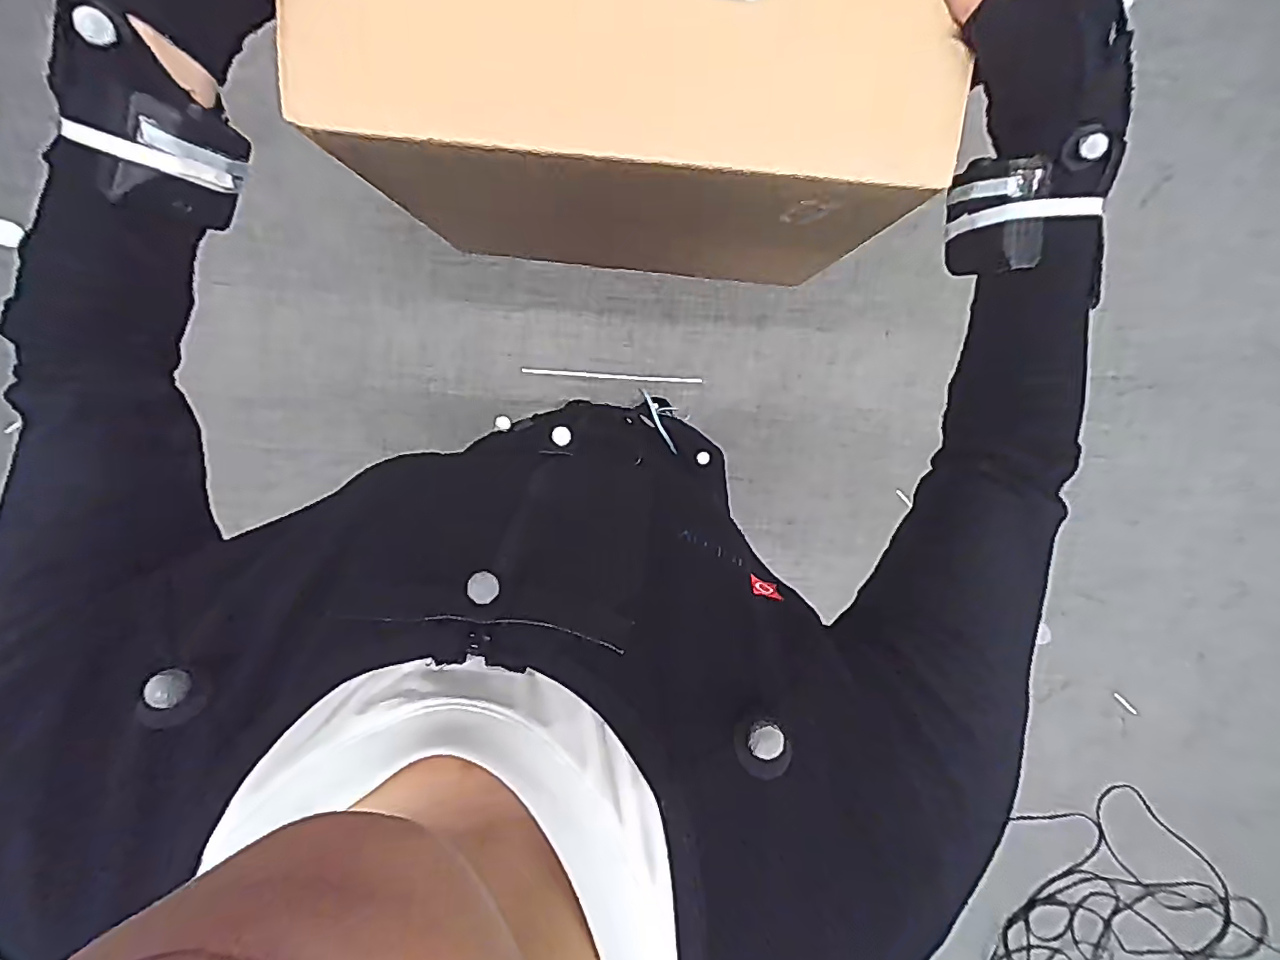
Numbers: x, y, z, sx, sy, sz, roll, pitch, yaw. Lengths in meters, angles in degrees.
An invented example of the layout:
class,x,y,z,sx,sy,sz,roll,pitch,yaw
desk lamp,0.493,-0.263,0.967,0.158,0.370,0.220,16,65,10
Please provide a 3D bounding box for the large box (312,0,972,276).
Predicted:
class,x,y,z,sx,sy,sz,roll,pitch,yaw
large box,0.006,-0.378,0.462,0.408,0.320,0.320,5,100,-1
